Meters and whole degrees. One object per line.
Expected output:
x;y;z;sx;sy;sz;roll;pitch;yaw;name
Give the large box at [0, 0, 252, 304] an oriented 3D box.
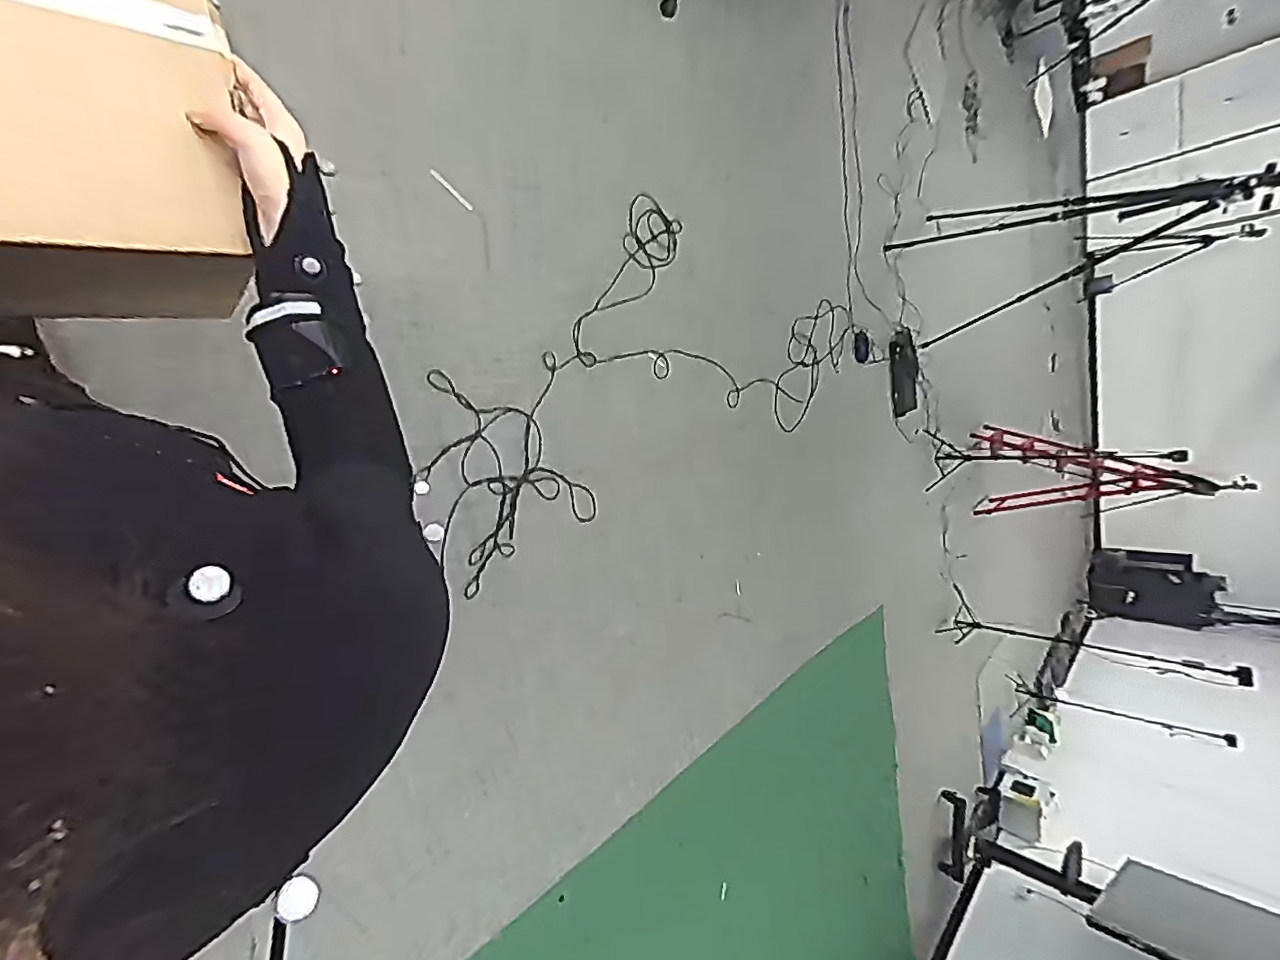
-0.581;-0.315;0.410;0.408;0.320;0.320;-15;103;-38;large box
